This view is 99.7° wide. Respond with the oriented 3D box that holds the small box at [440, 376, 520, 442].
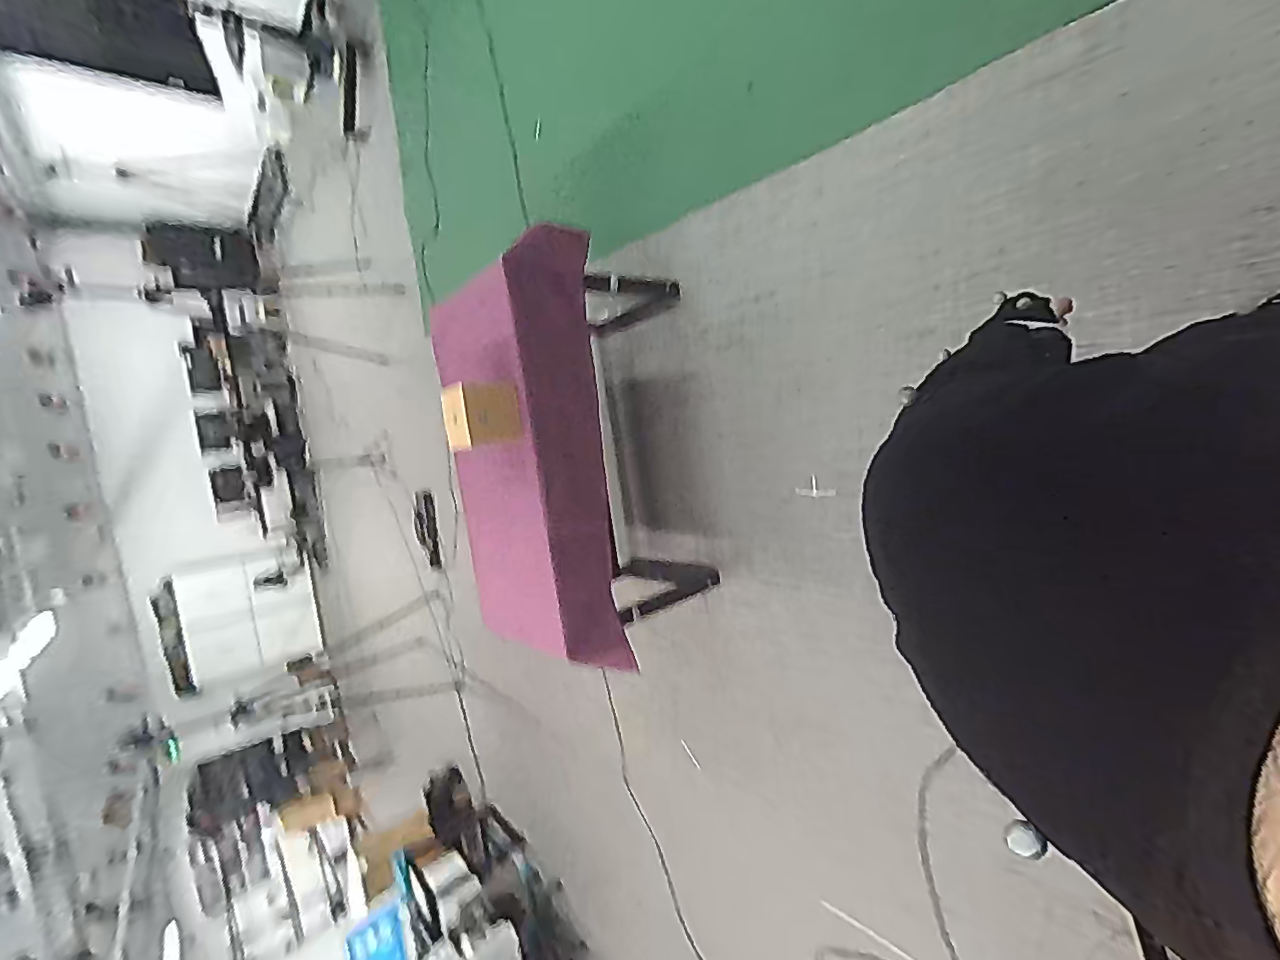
[{"bbox_3d":[-0.474,-0.212,1.615,0.168,0.176,0.179,0,99,49],"label":"small box"}]
